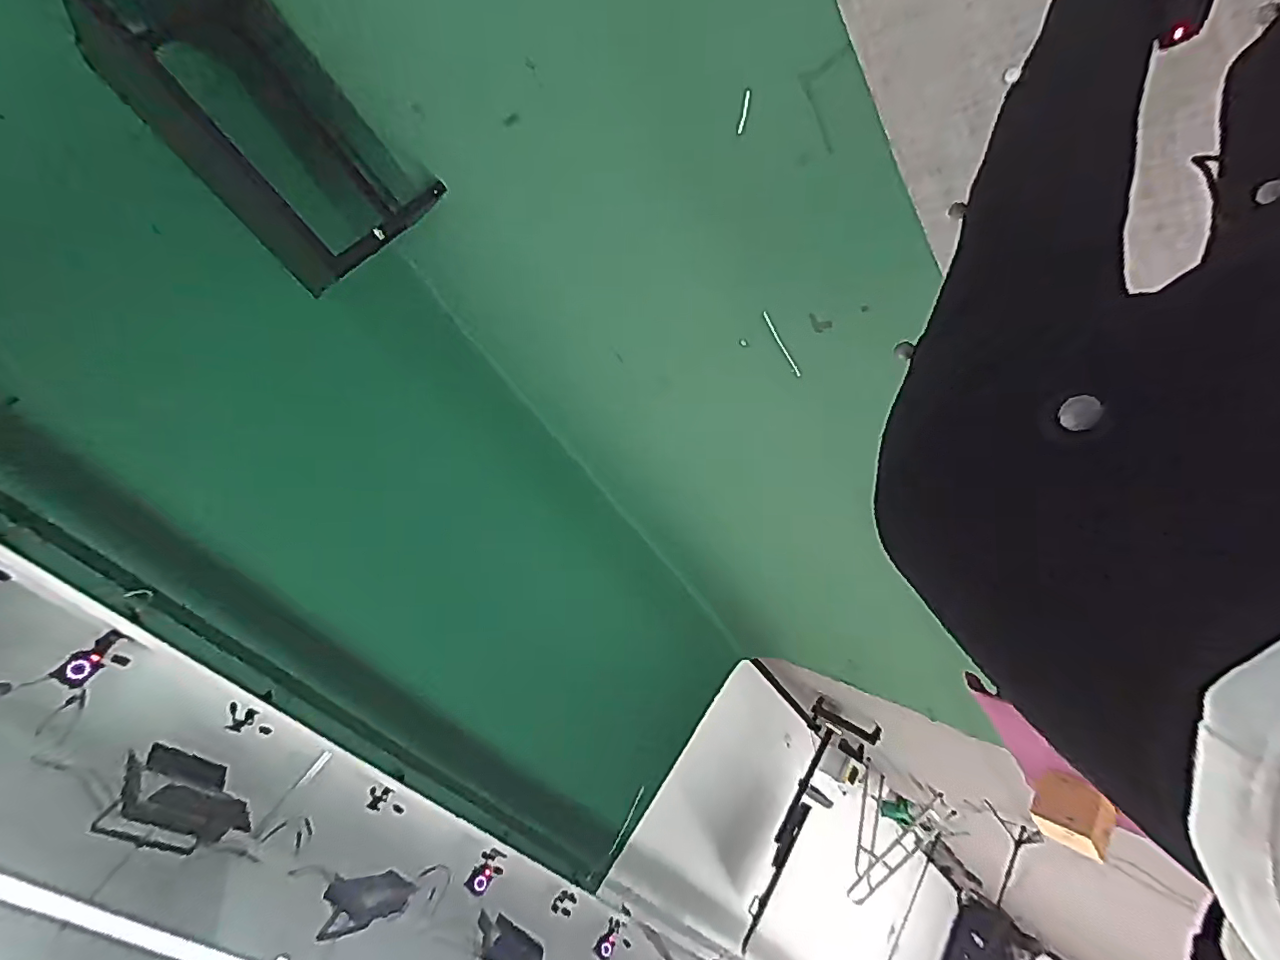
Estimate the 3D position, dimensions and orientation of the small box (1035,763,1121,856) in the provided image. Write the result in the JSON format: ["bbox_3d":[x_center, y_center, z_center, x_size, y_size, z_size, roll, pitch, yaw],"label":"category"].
[{"bbox_3d":[1.429,1.066,1.759,0.179,0.176,0.168,49,155,-24],"label":"small box"}]
